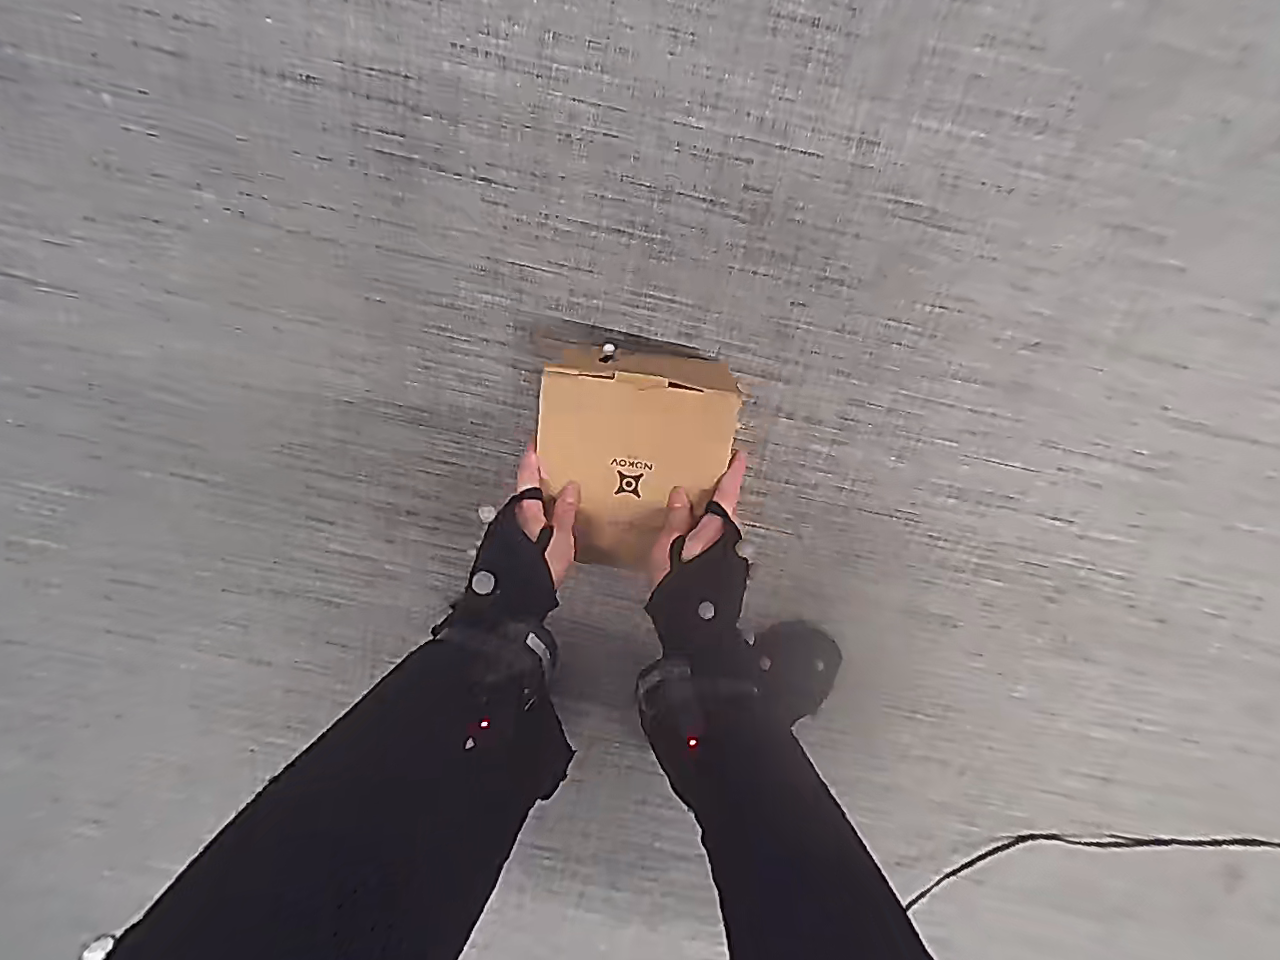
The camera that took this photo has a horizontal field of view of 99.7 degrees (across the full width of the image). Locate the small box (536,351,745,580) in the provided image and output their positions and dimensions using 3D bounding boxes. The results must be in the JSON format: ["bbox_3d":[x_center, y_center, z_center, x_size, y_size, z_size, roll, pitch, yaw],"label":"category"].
[{"bbox_3d":[0.000,-0.026,0.541,0.168,0.176,0.179,7,112,2],"label":"small box"}]
